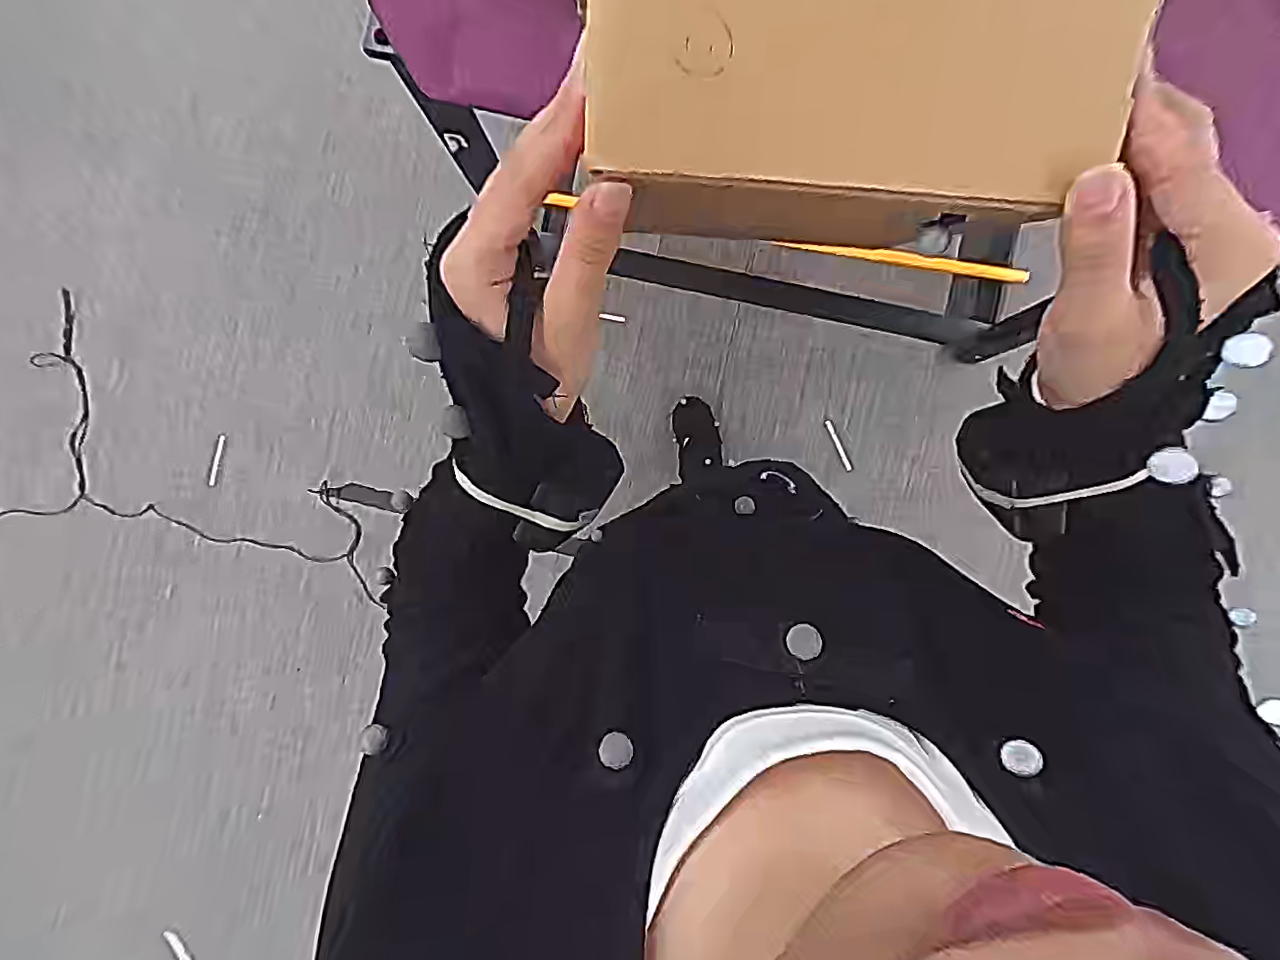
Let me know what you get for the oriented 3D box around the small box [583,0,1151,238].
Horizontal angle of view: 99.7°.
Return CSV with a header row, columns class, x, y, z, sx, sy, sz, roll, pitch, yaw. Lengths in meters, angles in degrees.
class,x,y,z,sx,sy,sz,roll,pitch,yaw
small box,0.069,-0.202,0.228,0.179,0.176,0.168,1,109,-5
